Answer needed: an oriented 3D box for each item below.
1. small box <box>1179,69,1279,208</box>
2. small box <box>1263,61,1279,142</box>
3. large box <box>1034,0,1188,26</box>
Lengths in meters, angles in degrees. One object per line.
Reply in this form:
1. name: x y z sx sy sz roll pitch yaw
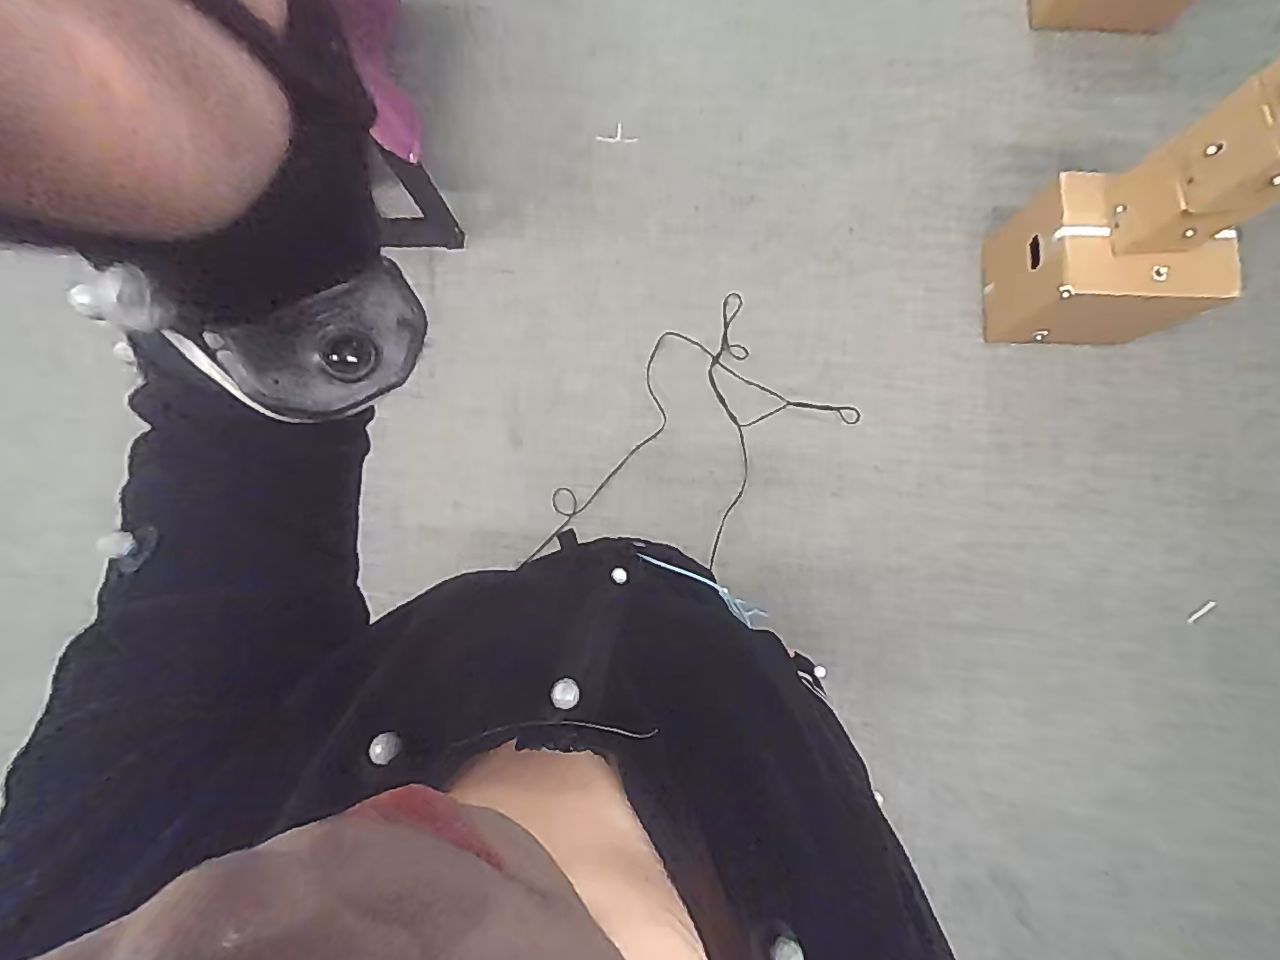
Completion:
1. small box: 1.188 -0.644 1.027 0.179 0.176 0.168 -6 82 1
2. small box: 1.187 -0.666 0.863 0.179 0.176 0.168 -6 82 1
3. large box: 1.416 -1.567 1.534 0.408 0.320 0.320 3 84 0
